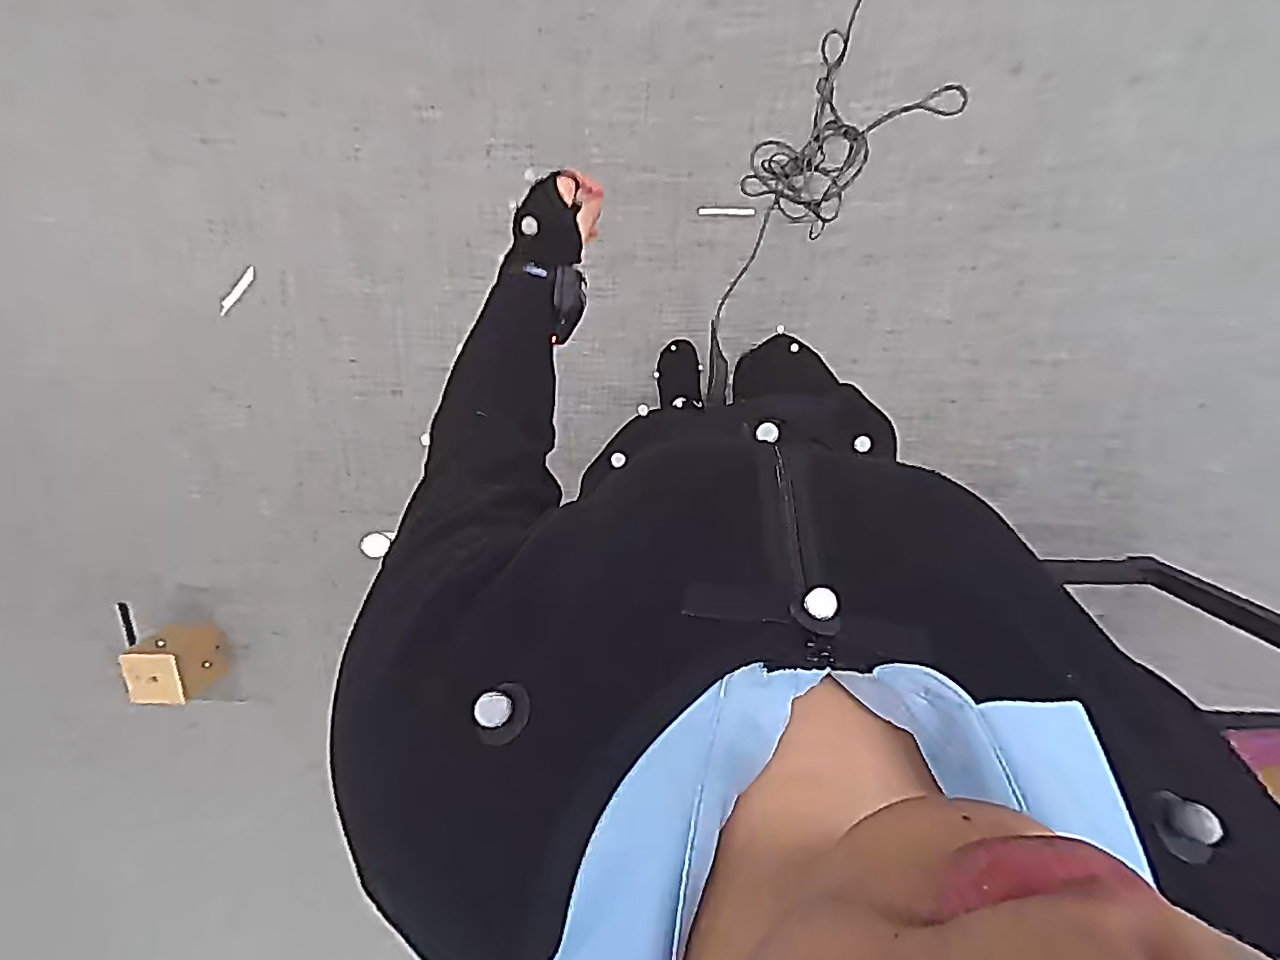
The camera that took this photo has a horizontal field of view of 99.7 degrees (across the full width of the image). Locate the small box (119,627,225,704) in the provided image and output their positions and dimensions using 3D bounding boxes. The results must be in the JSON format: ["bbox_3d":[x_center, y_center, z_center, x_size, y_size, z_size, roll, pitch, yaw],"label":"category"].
[{"bbox_3d":[-1.423,0.565,1.662,0.179,0.176,0.168,0,103,4],"label":"small box"}]
